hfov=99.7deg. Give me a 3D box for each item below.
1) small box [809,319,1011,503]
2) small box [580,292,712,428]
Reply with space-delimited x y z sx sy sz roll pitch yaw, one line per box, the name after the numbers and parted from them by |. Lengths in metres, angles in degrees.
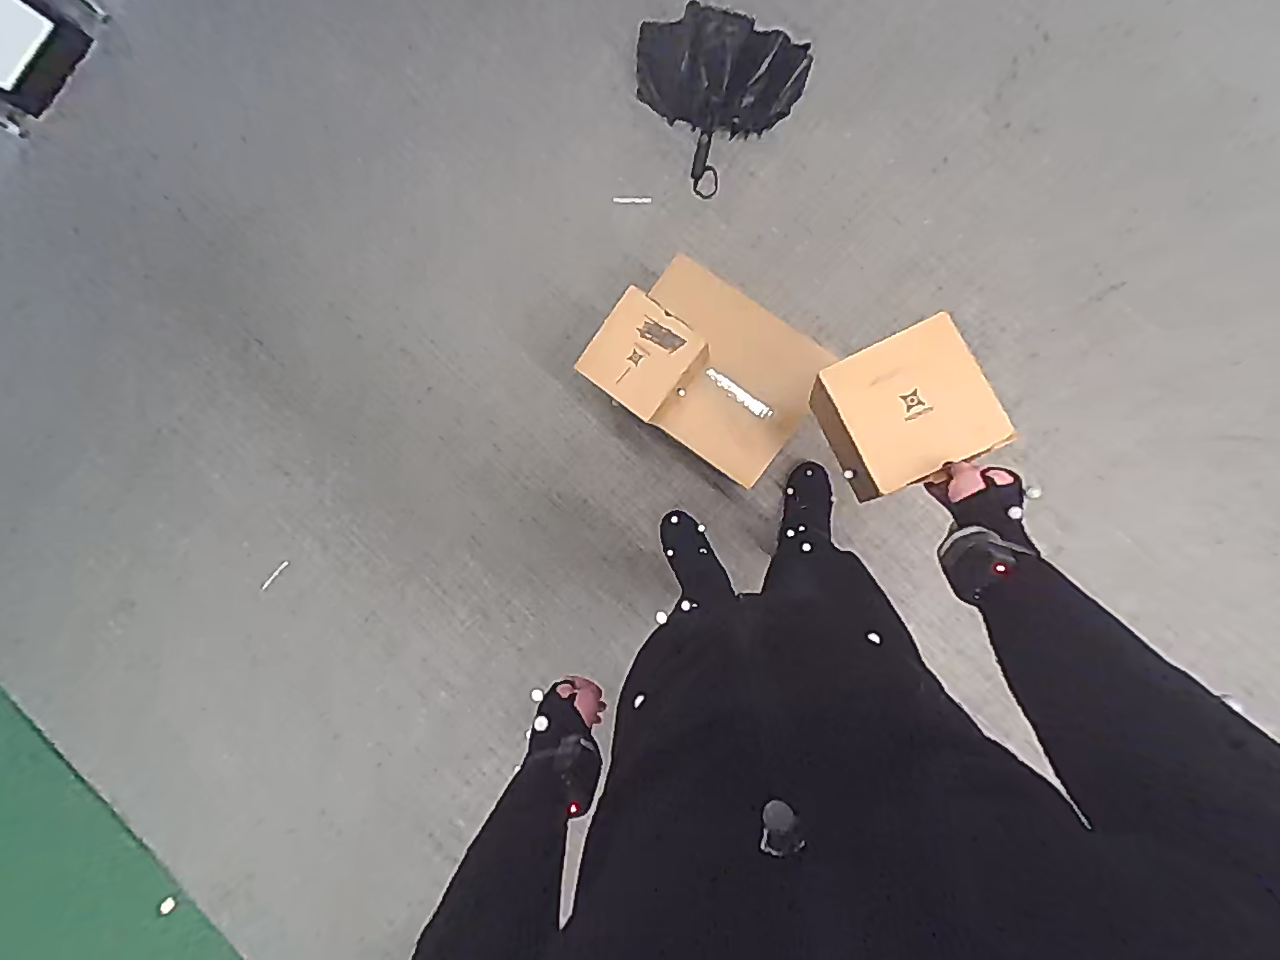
0.345 -0.078 0.730 0.168 0.176 0.179 -27 77 9 | small box
0.018 -0.213 1.010 0.168 0.176 0.179 38 99 5 | small box
